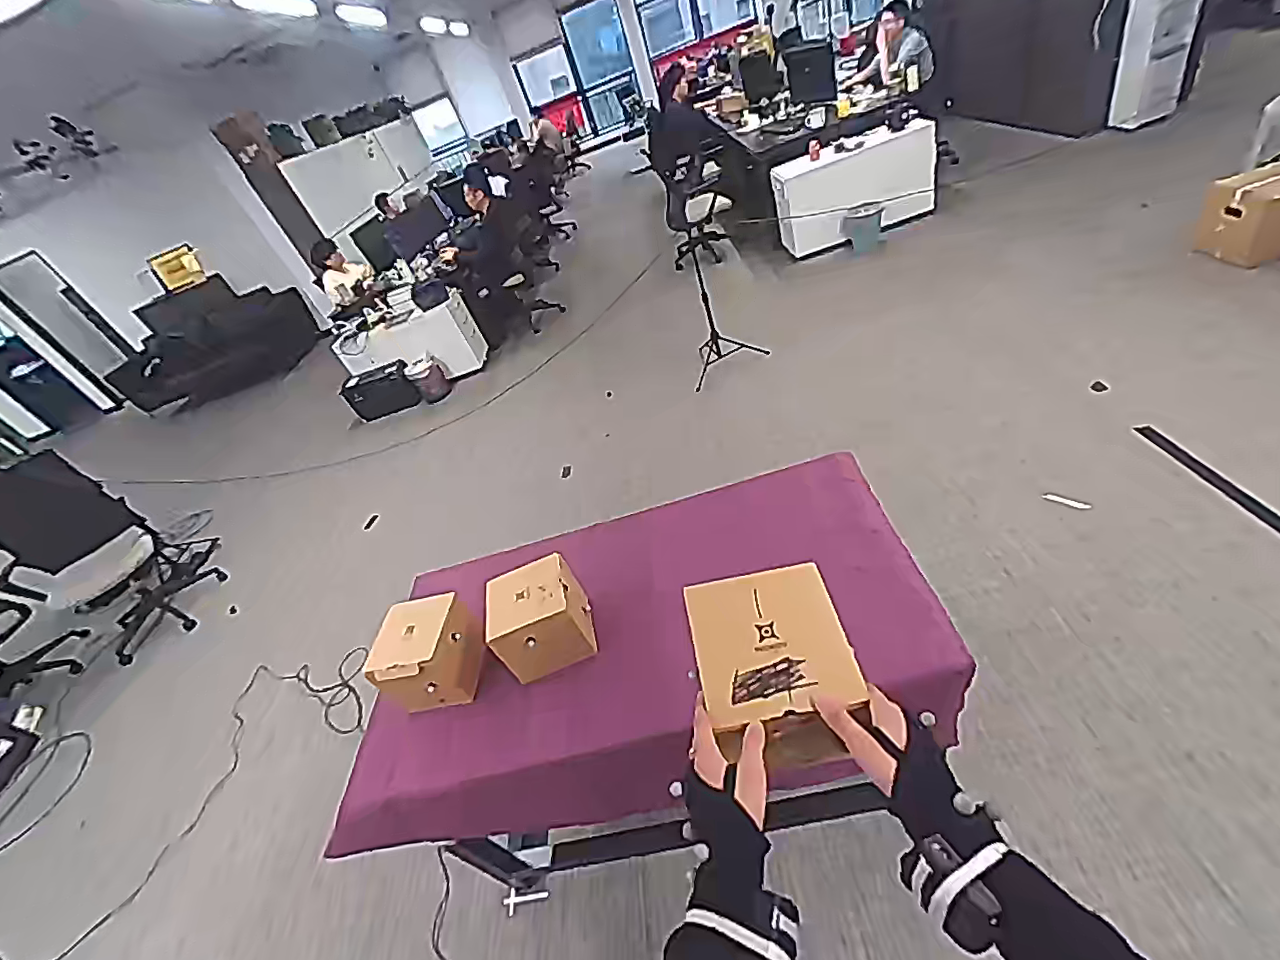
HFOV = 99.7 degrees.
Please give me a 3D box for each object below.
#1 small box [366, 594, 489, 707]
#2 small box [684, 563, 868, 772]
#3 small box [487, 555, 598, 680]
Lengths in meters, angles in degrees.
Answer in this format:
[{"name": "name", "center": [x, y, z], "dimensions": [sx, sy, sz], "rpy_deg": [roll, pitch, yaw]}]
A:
[{"name": "small box", "center": [-0.455, 0.382, 1.192], "dimensions": [0.168, 0.176, 0.179], "rpy_deg": [-13, 38, 12]}, {"name": "small box", "center": [0.156, 0.232, 0.653], "dimensions": [0.168, 0.176, 0.179], "rpy_deg": [-12, 44, 3]}, {"name": "small box", "center": [-0.209, 0.298, 1.163], "dimensions": [0.179, 0.176, 0.168], "rpy_deg": [-22, 38, 1]}]
